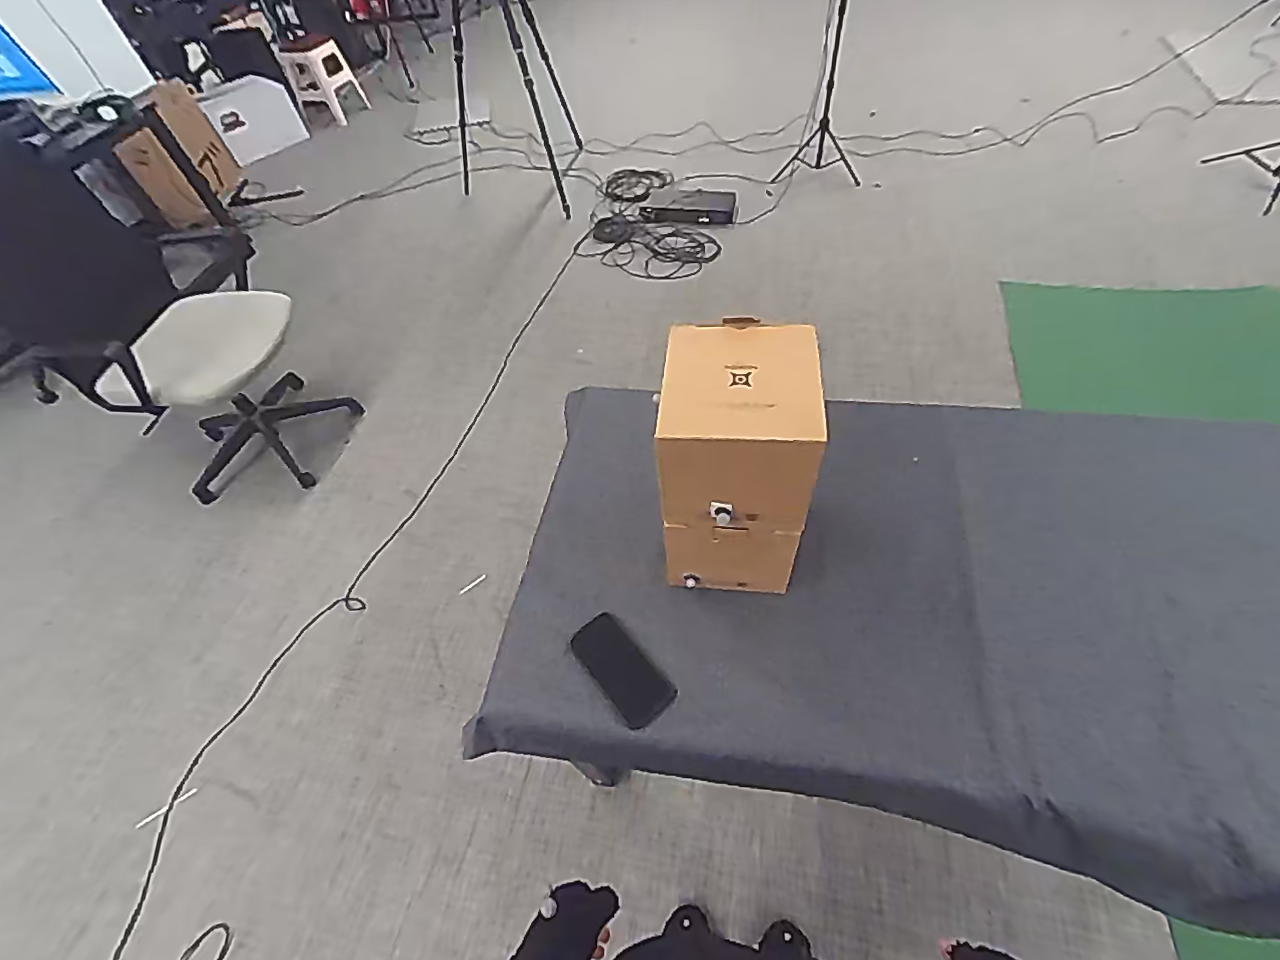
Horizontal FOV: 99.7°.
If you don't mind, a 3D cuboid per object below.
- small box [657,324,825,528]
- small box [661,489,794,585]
[{"bbox_3d":[0.113,-0.062,0.637,0.168,0.176,0.179,1,55,8],"label":"small box"},{"bbox_3d":[0.124,0.034,0.767,0.168,0.176,0.179,3,53,8],"label":"small box"}]
